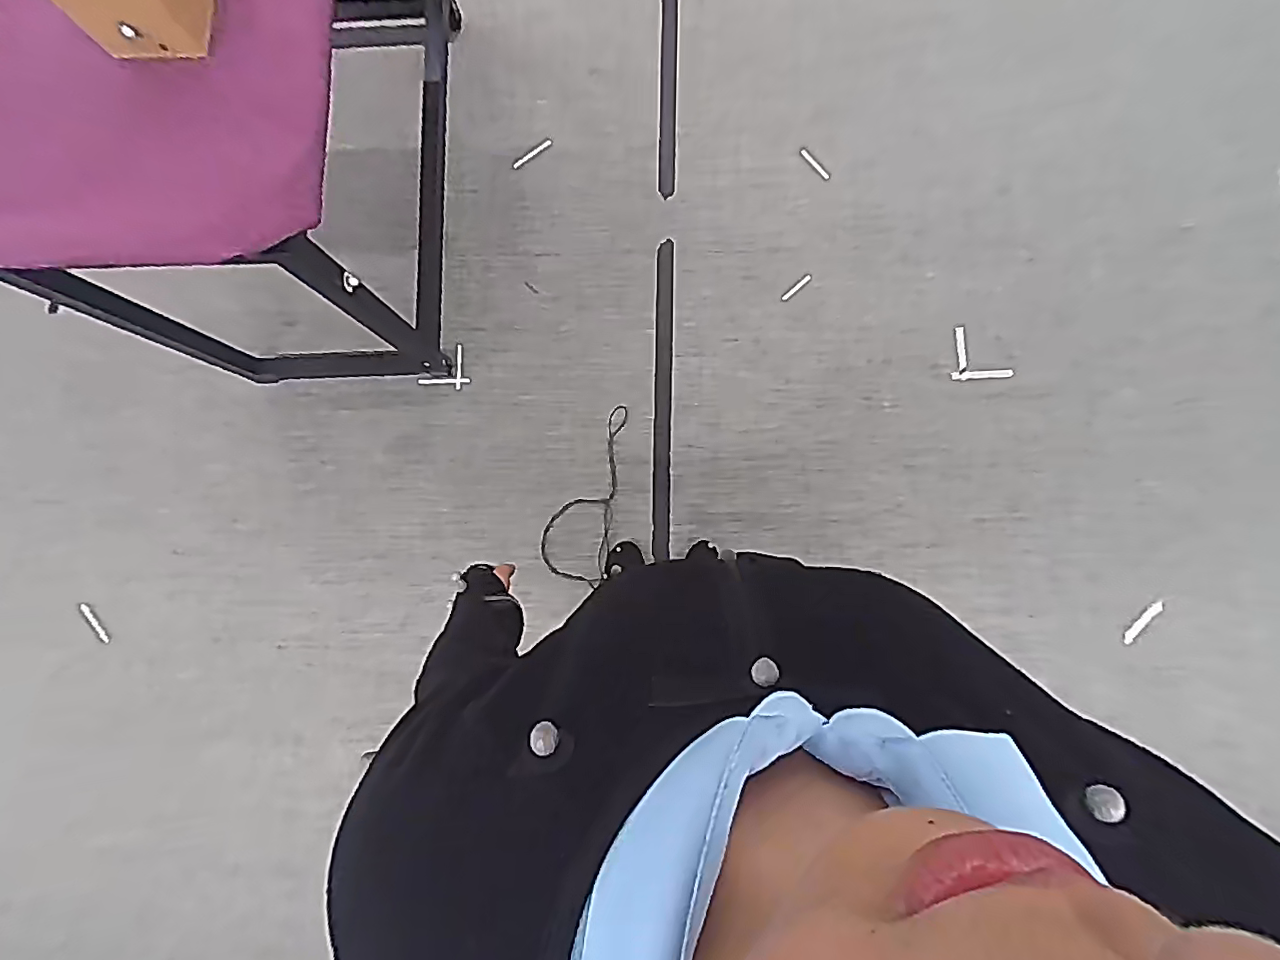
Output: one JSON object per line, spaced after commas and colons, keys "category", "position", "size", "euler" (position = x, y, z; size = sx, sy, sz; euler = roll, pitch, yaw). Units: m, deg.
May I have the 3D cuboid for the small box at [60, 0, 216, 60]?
{"category": "small box", "position": [-0.798, -0.799, 0.833], "size": [0.168, 0.176, 0.179], "euler": [1, 84, 2]}
